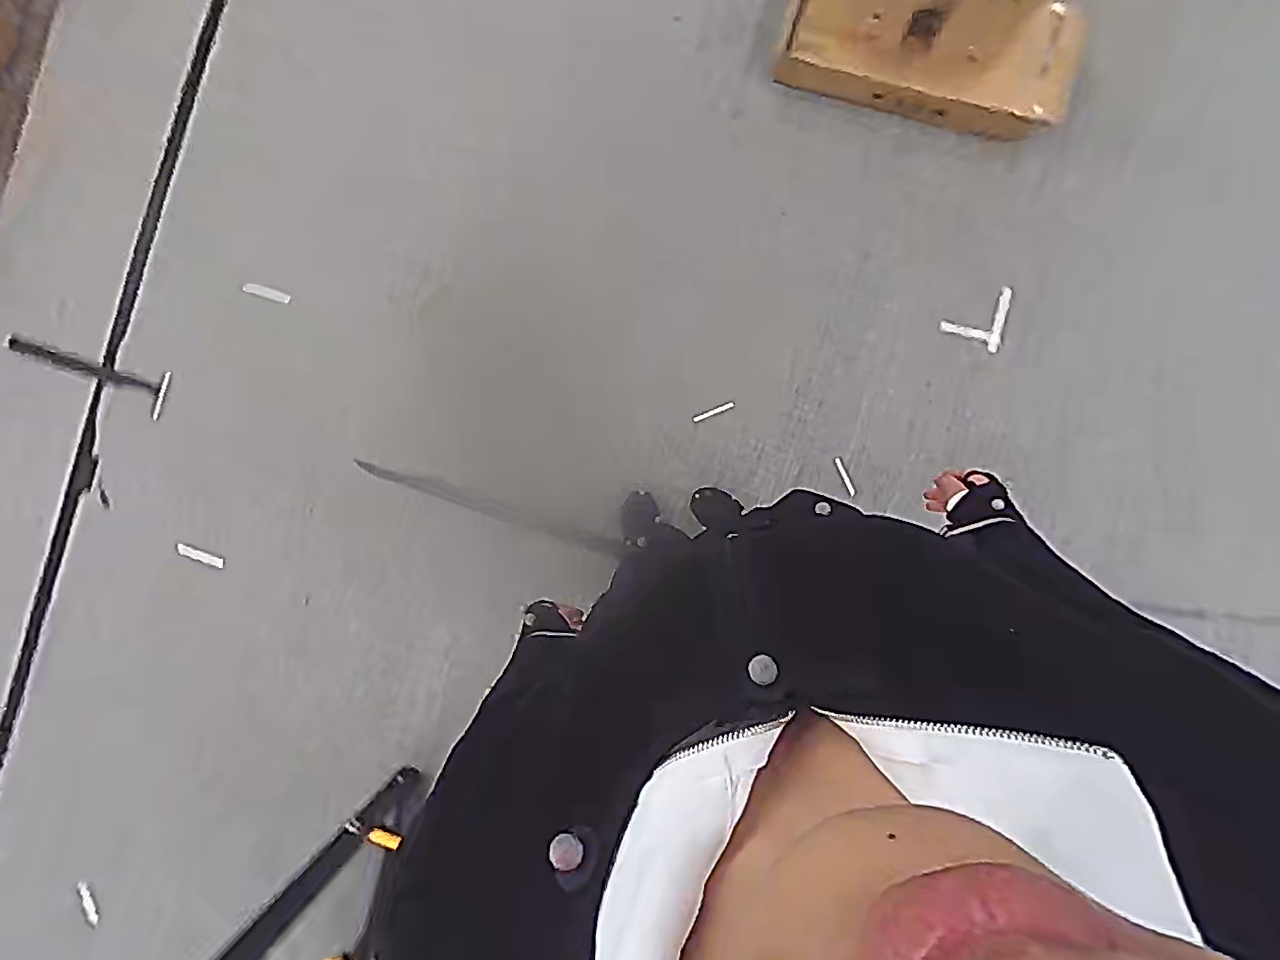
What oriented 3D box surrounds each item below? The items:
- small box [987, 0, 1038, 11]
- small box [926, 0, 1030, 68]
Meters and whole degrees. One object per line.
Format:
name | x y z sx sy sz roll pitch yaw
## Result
small box | 0.812 -1.145 1.121 0.168 0.176 0.179 20 90 4
small box | 0.813 -1.141 1.285 0.168 0.176 0.179 16 90 4
